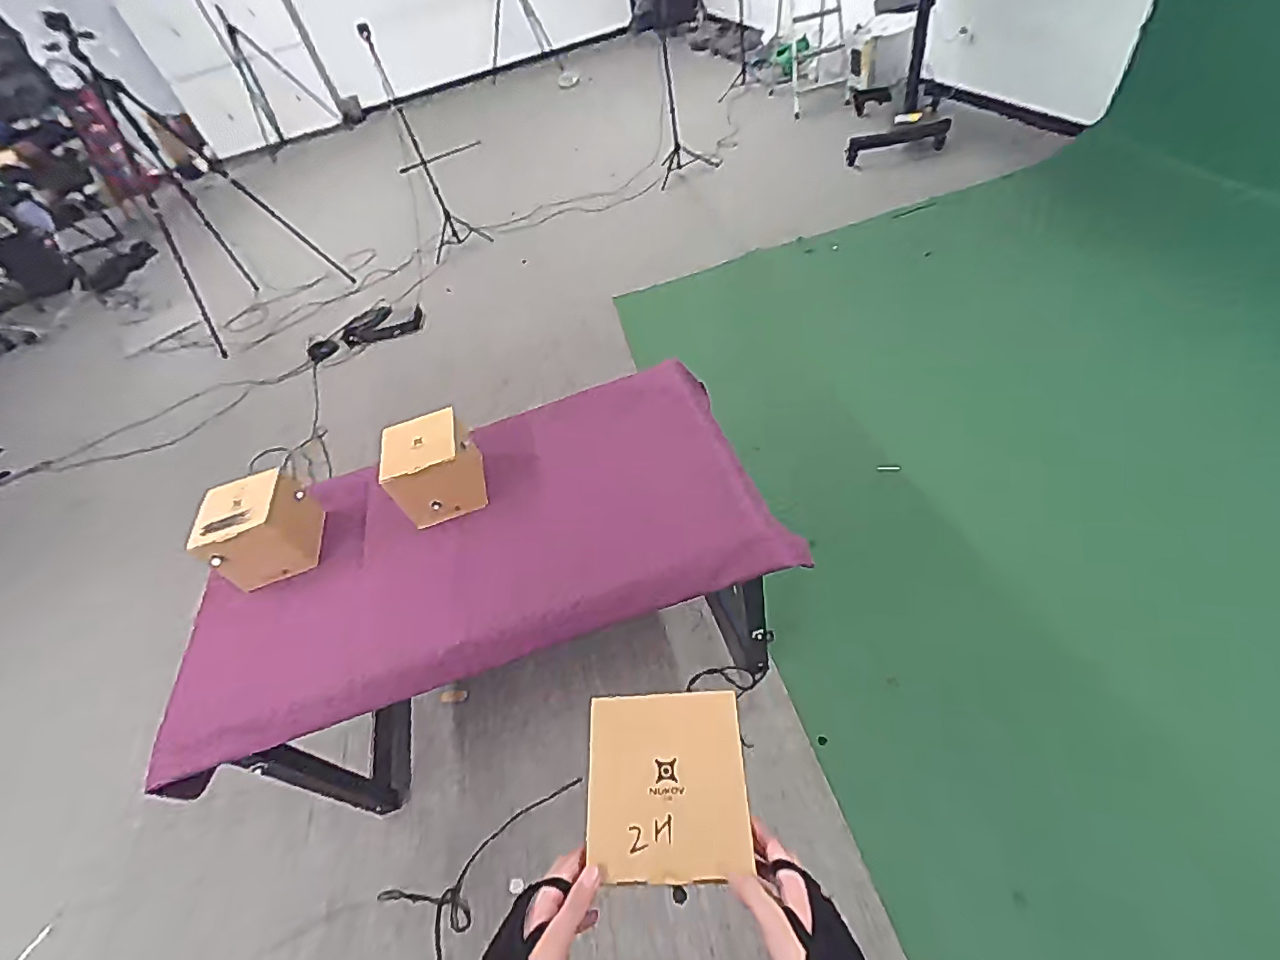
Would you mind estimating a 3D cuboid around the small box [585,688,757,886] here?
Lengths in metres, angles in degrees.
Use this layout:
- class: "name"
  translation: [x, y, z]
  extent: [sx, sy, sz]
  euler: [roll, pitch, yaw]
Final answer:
- class: "small box"
  translation: [0.038, 0.356, 0.623]
  extent: [0.168, 0.176, 0.179]
  euler: [-5, 52, 6]

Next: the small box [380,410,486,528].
- class: "small box"
  translation: [-0.461, -0.024, 1.220]
  extent: [0.168, 0.176, 0.179]
  euler: [-19, 48, -3]
